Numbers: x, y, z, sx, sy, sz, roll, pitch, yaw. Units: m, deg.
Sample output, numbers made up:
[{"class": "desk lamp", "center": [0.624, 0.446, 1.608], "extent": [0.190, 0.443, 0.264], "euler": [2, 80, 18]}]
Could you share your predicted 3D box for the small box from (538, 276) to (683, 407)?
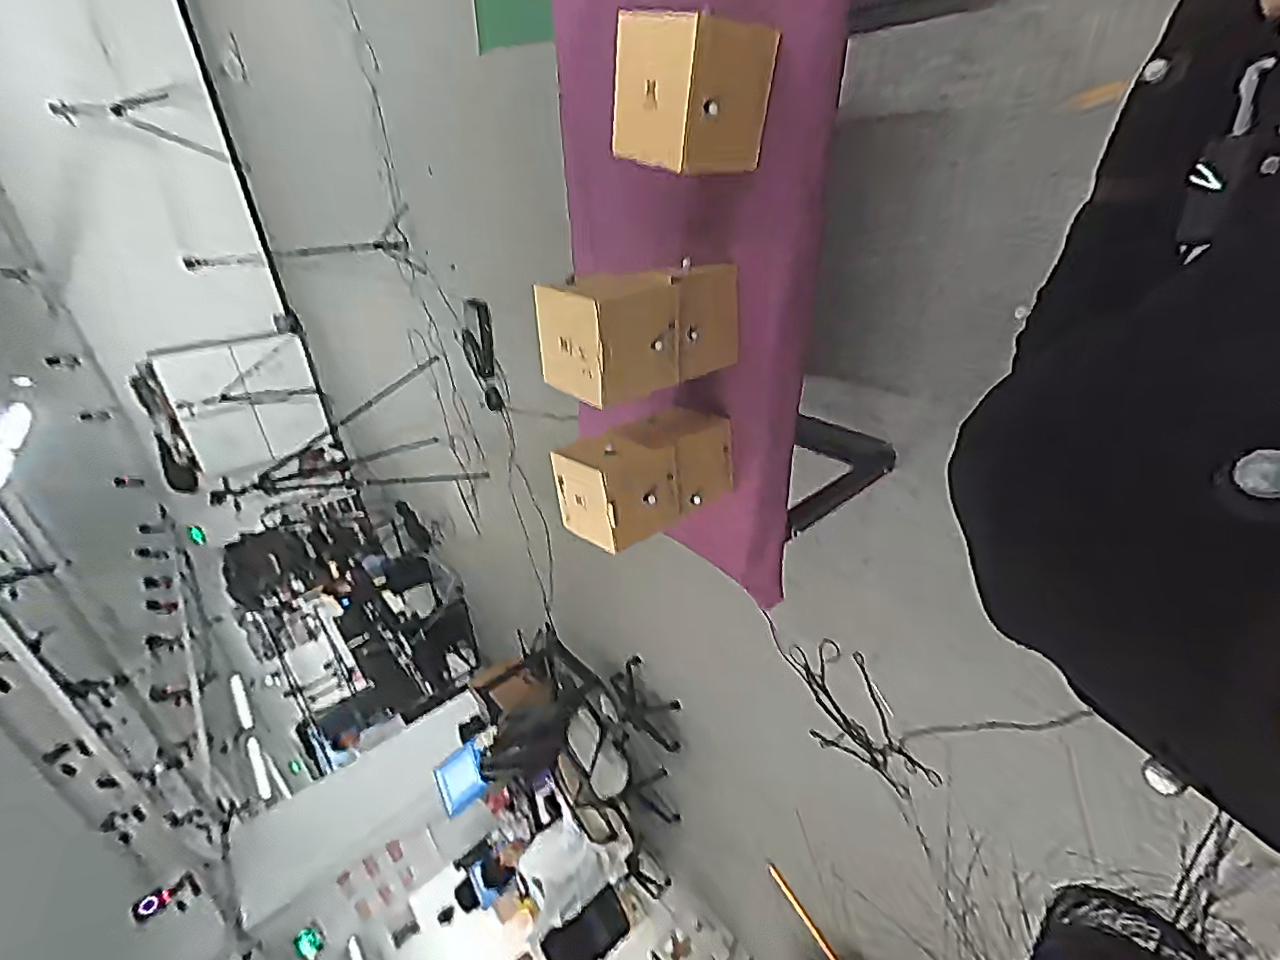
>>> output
[{"class": "small box", "center": [-0.049, -0.241, 0.908], "extent": [0.179, 0.176, 0.168], "euler": [29, 132, 41]}]

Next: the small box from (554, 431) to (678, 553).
[{"class": "small box", "center": [-0.038, 0.013, 1.048], "extent": [0.179, 0.176, 0.168], "euler": [20, 125, 46]}]

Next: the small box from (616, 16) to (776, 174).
[{"class": "small box", "center": [0.082, -0.580, 0.819], "extent": [0.168, 0.176, 0.179], "euler": [39, 139, 36]}]

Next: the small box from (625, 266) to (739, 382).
[{"class": "small box", "center": [0.071, -0.296, 1.007], "extent": [0.168, 0.176, 0.179], "euler": [22, 126, 46]}]
